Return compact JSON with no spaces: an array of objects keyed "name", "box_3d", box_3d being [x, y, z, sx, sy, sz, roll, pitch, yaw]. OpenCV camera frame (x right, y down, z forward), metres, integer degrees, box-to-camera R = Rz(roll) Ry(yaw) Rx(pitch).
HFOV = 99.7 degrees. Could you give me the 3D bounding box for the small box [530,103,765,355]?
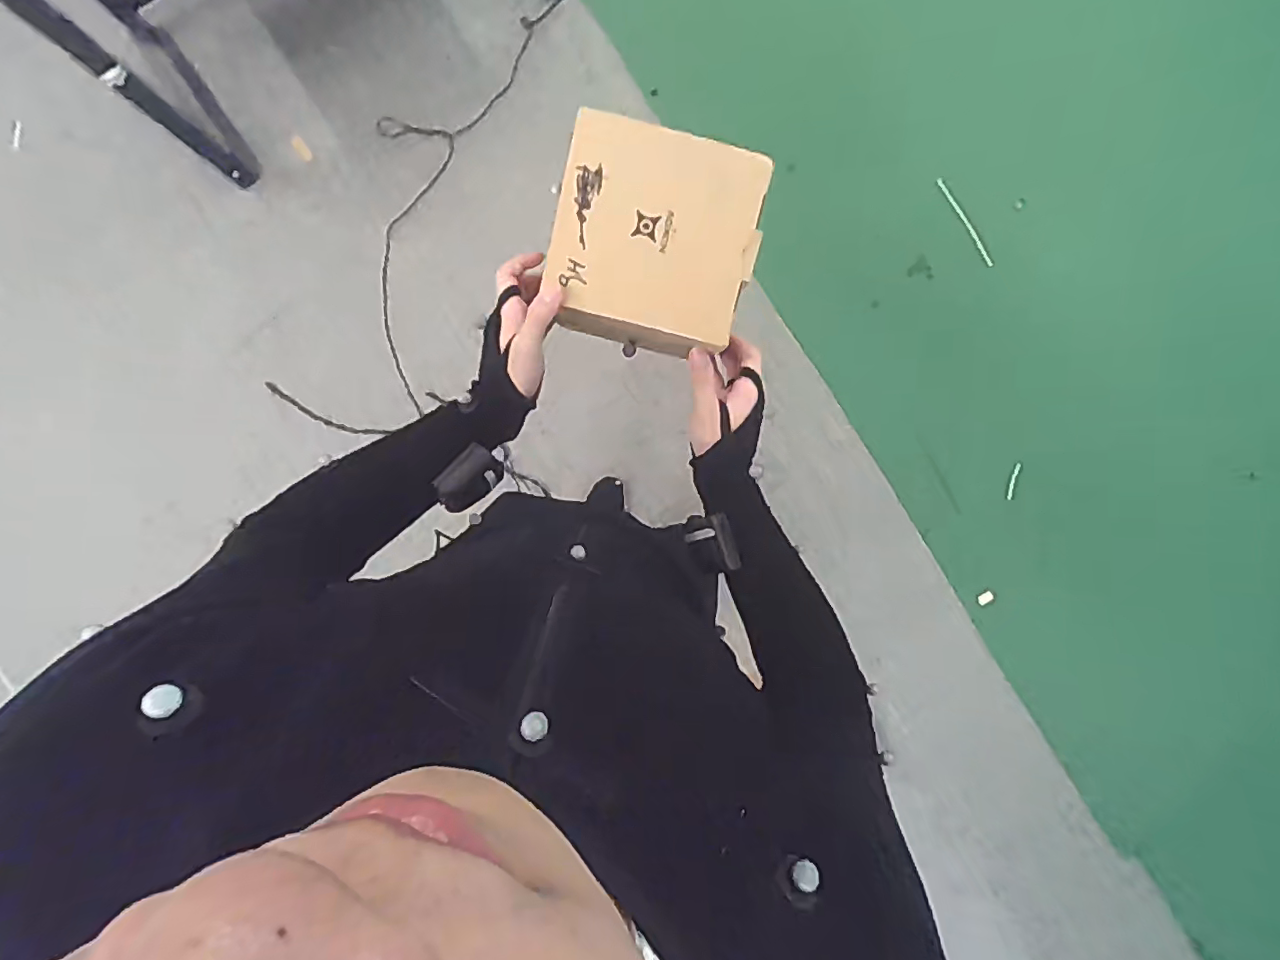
[{"name":"small box","box_3d":[0.002,-0.230,0.549,0.179,0.176,0.168,13,96,-4]}]
